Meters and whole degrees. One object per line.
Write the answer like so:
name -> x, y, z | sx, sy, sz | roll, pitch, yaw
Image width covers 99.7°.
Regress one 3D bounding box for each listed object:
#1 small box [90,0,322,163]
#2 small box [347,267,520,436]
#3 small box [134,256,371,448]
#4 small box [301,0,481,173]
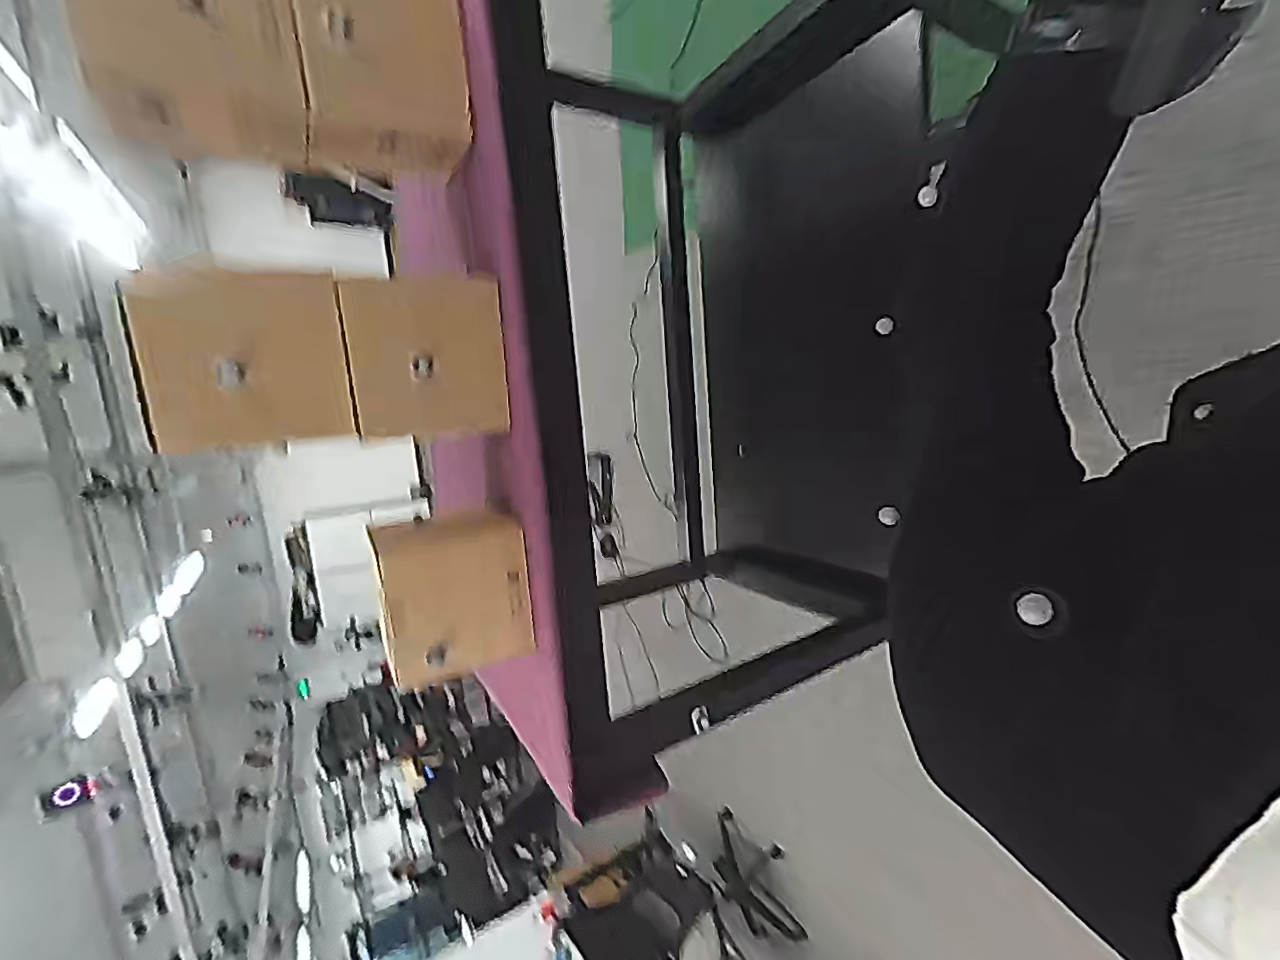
small box -> -0.437, -0.452, 0.558 | 0.179, 0.176, 0.168 | 15, 112, 57
small box -> -0.260, -0.158, 0.671 | 0.168, 0.176, 0.179 | 19, 116, 57
small box -> -0.404, -0.139, 0.596 | 0.168, 0.176, 0.179 | 14, 111, 58
small box -> -0.293, -0.479, 0.633 | 0.168, 0.176, 0.179 | 16, 112, 57
